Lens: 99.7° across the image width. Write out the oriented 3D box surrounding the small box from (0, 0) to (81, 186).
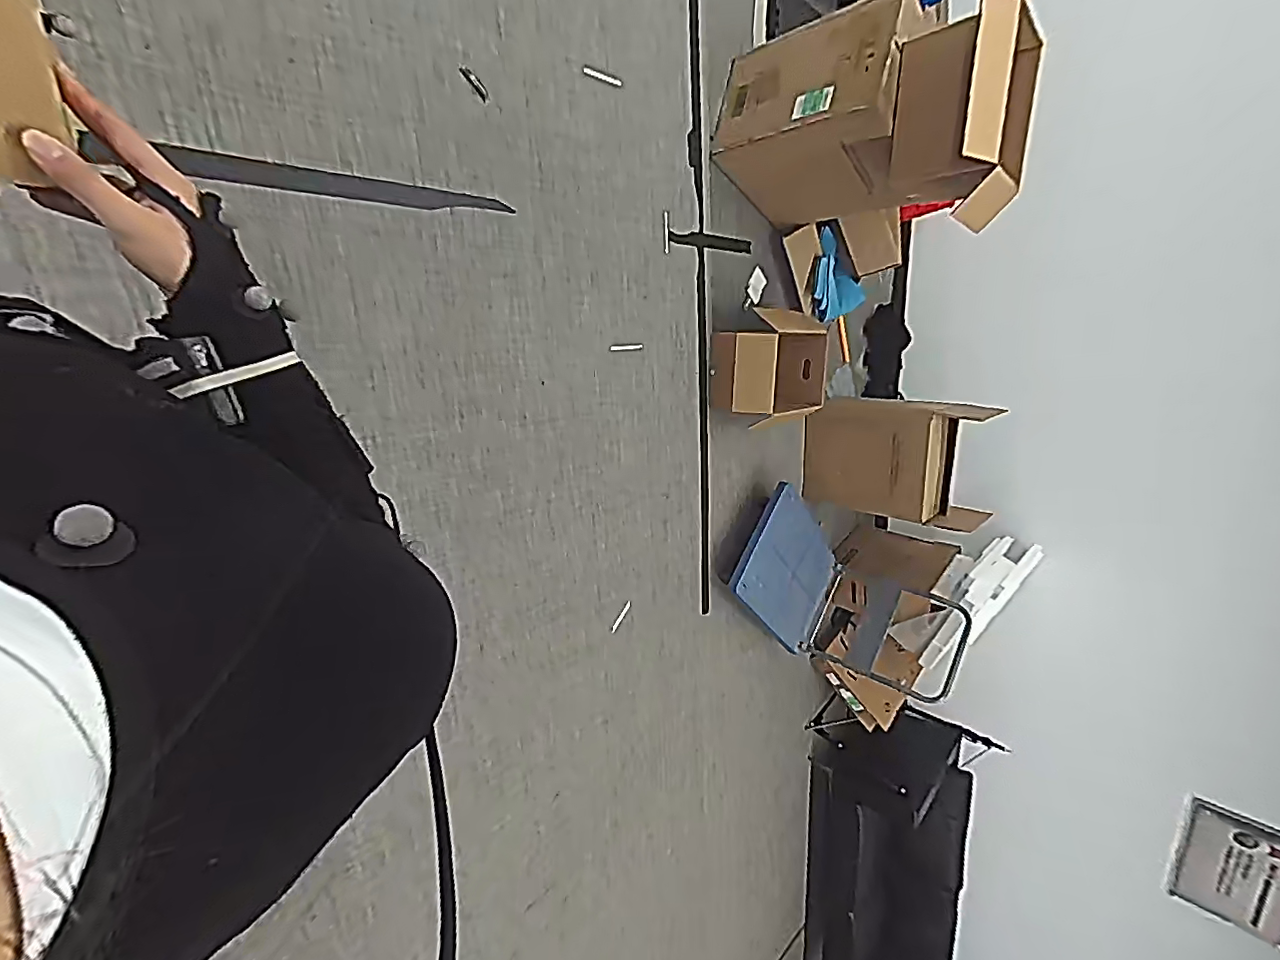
[{"bbox_3d":[-0.419,-0.267,0.264,0.179,0.176,0.168,-13,132,-40],"label":"small box"}]
